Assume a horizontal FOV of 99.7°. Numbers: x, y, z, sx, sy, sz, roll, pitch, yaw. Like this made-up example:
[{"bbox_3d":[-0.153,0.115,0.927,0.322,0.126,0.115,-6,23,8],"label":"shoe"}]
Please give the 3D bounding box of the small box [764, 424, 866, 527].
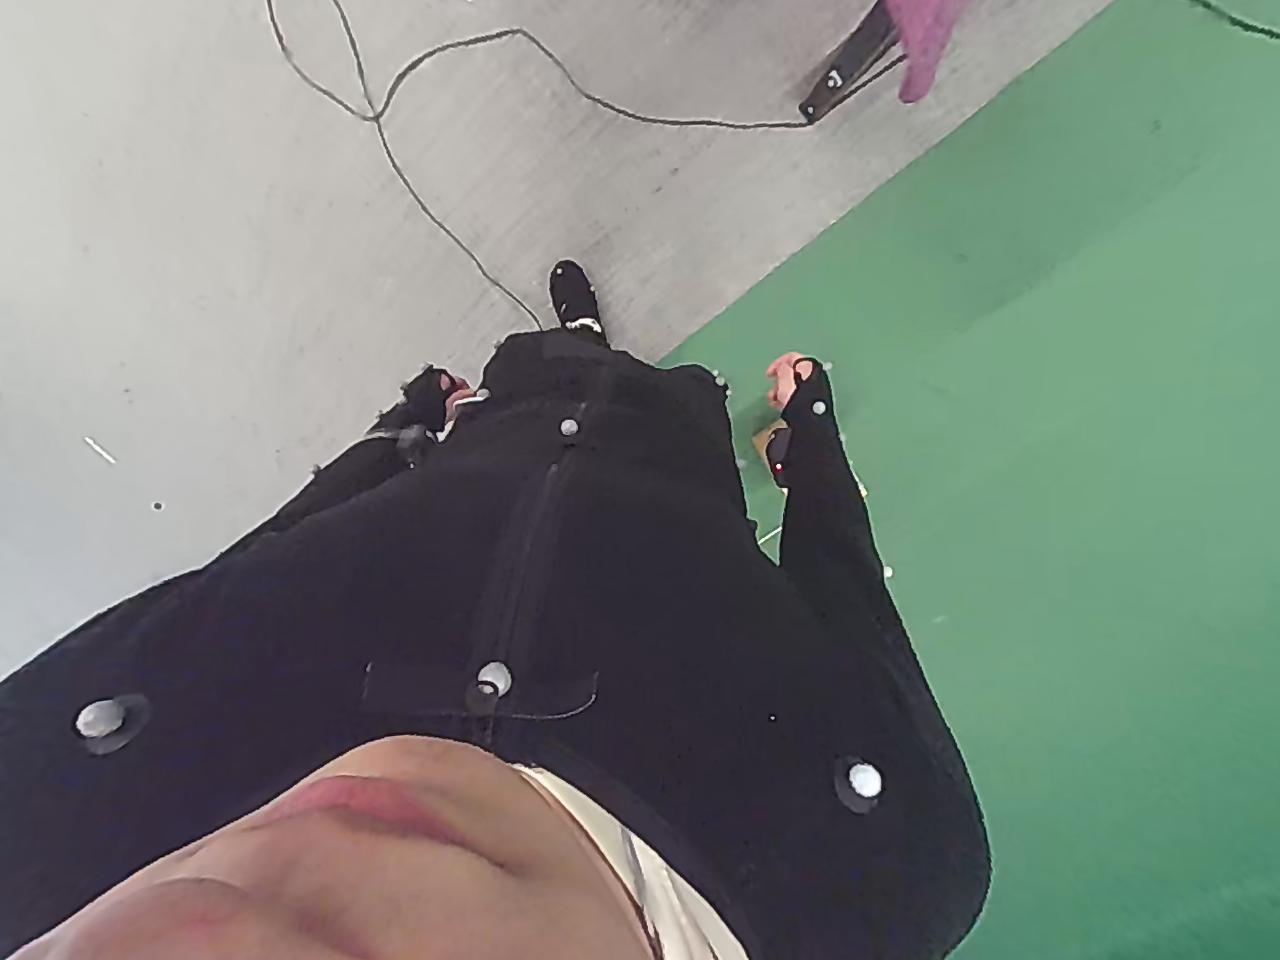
[{"bbox_3d":[0.441,-0.017,1.382,0.168,0.176,0.179,-34,106,13],"label":"small box"}]
